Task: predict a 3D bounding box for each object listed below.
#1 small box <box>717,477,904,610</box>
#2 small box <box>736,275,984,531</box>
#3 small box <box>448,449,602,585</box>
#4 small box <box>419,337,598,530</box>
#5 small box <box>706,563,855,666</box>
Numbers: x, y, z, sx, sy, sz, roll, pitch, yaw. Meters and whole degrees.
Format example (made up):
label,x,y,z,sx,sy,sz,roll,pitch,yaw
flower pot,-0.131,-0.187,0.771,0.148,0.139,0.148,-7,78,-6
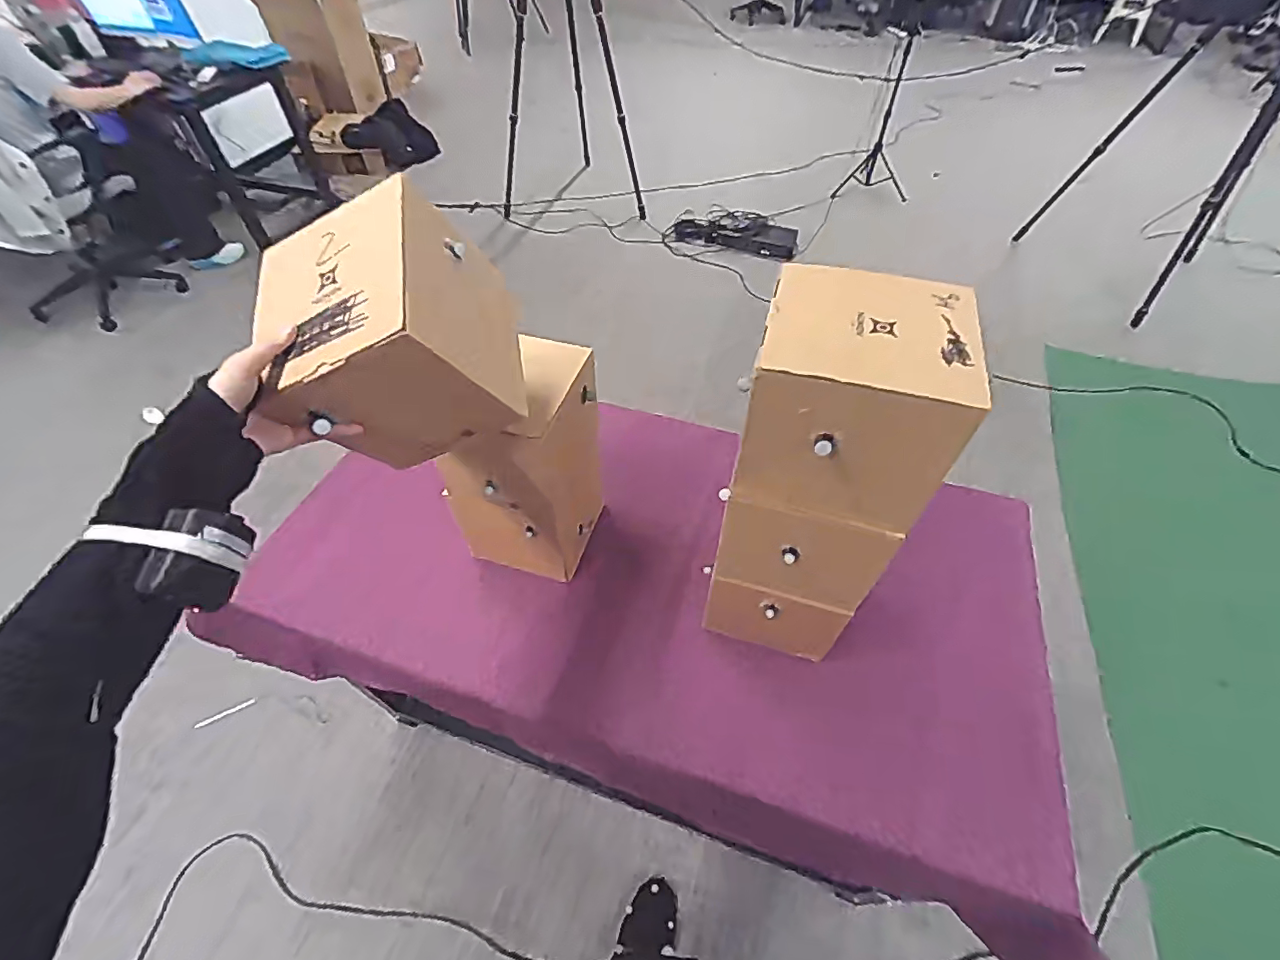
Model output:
label,x,y,z,sx,sy,sz,roll,pitch,yaw
small box,0.199,0.036,0.648,0.179,0.176,0.168,13,52,13
small box,0.196,-0.072,0.523,0.179,0.176,0.168,12,52,12
small box,-0.169,0.045,0.859,0.179,0.176,0.168,13,51,10
small box,-0.161,-0.062,0.733,0.168,0.176,0.179,13,51,11
small box,0.200,0.142,0.773,0.179,0.176,0.168,15,52,12
